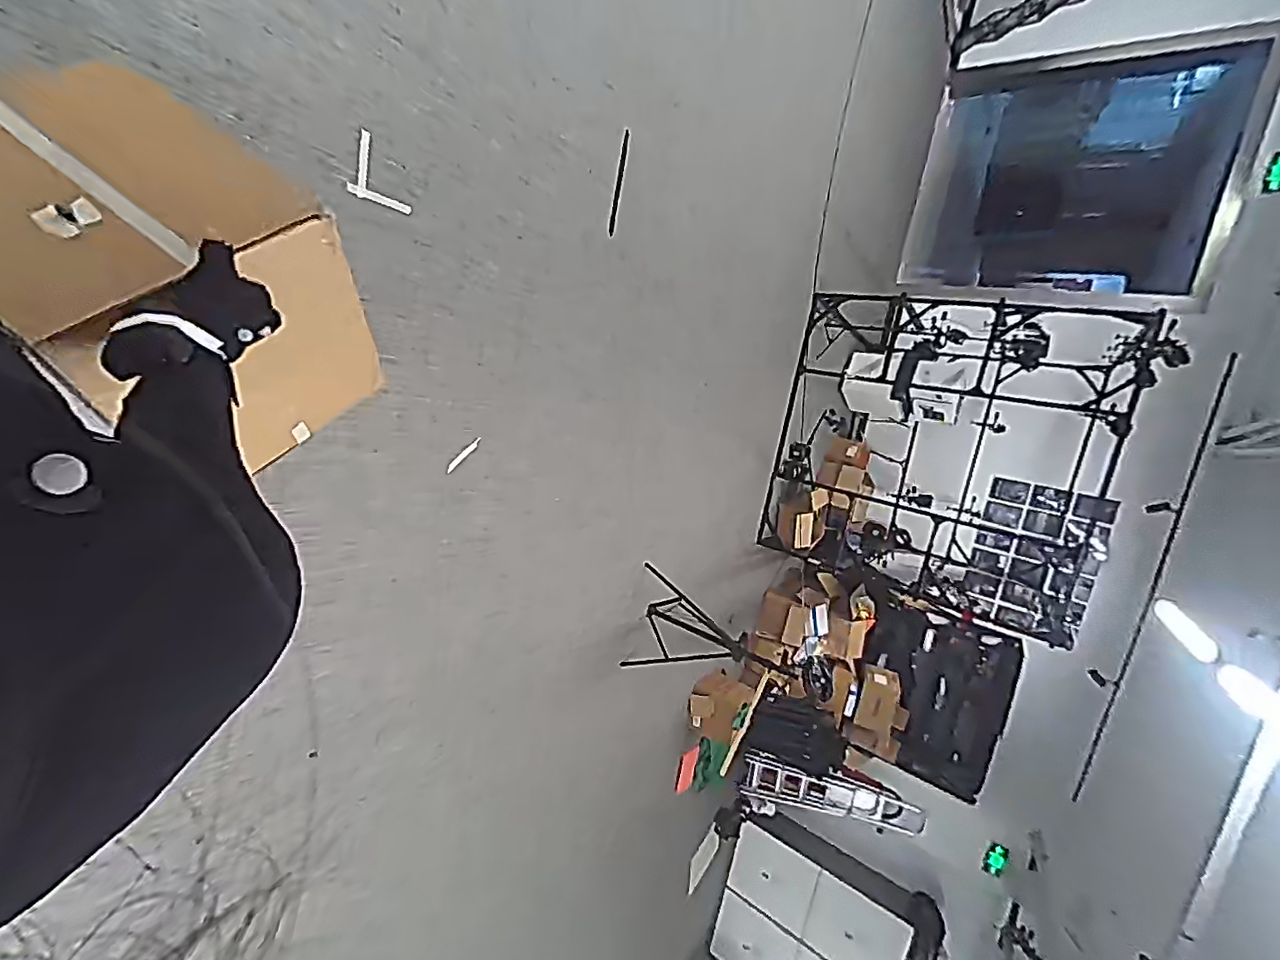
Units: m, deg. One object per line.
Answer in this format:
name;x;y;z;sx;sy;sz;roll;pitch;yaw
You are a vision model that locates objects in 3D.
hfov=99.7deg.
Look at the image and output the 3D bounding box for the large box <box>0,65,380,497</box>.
large box;-0.637;-0.255;0.723;0.320;0.408;0.320;-49;171;-30
